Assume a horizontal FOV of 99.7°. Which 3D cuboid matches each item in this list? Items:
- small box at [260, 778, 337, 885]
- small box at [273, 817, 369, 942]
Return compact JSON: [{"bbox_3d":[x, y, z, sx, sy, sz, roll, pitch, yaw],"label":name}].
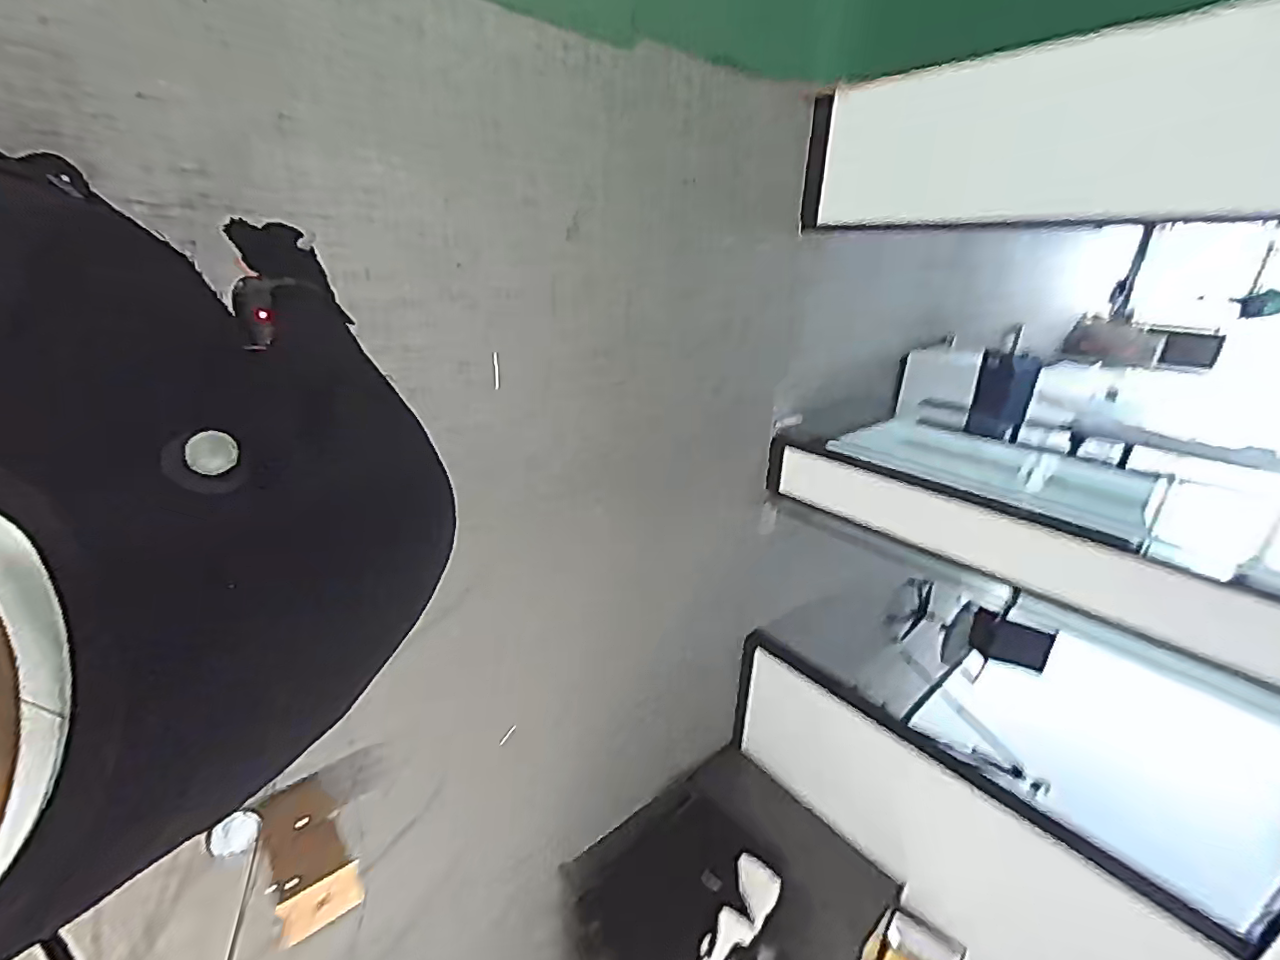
[{"bbox_3d":[-0.974,1.012,1.561,0.168,0.176,0.179,-17,120,-37],"label":"small box"},{"bbox_3d":[-0.859,1.062,1.456,0.179,0.176,0.168,-17,119,-37],"label":"small box"}]
